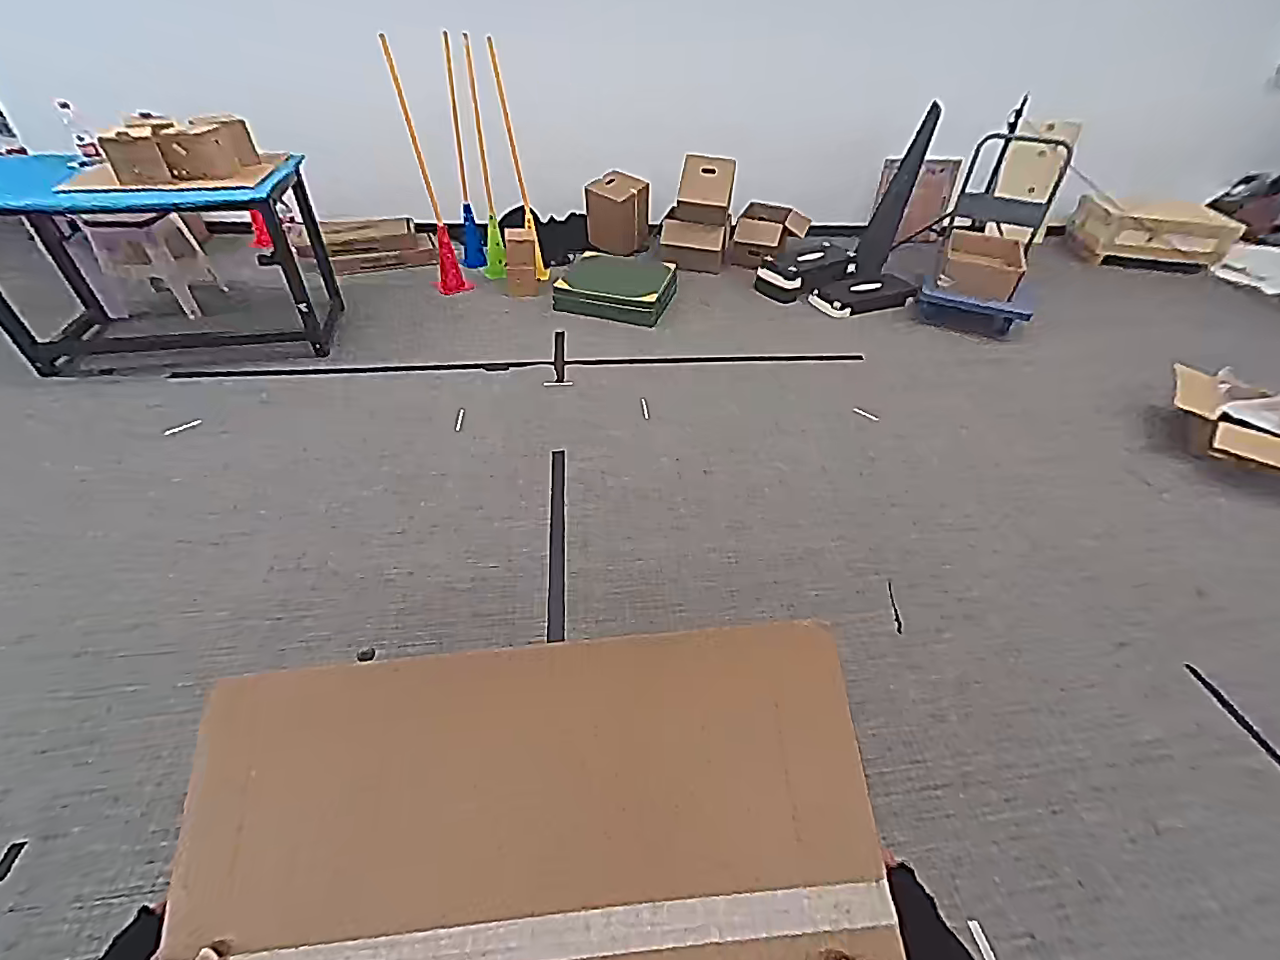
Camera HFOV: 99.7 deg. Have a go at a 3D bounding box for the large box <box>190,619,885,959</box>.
[{"bbox_3d":[-0.061,0.311,0.452,0.408,0.320,0.320,-5,70,-2],"label":"large box"}]
